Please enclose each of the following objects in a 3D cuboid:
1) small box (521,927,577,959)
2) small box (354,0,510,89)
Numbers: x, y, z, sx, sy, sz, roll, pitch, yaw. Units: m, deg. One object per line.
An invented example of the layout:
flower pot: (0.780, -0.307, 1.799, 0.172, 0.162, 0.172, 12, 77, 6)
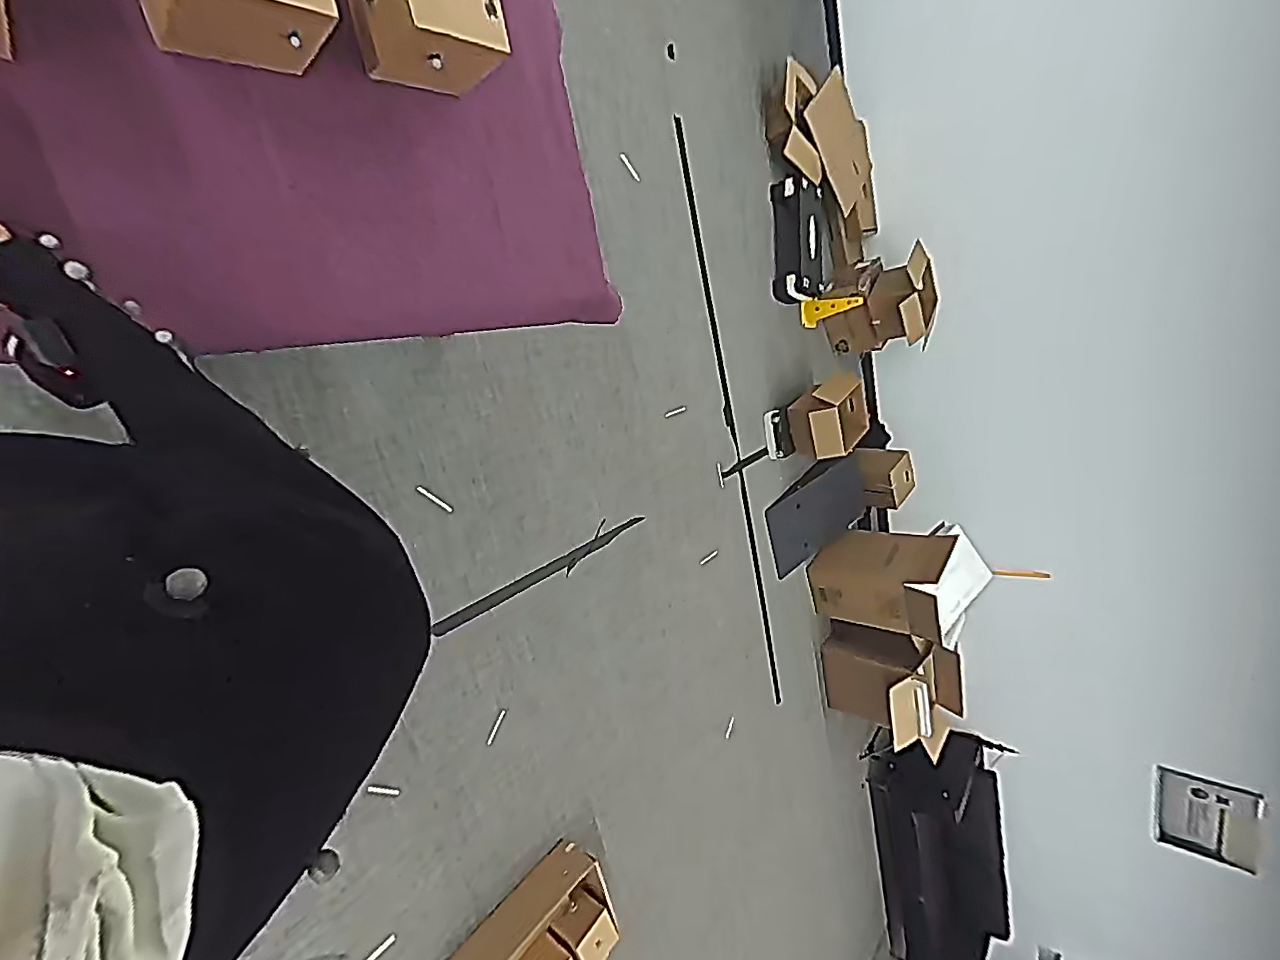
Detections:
small box: (-0.330, 1.810, 1.975, 0.179, 0.176, 0.168, -34, 115, -40)
small box: (-0.341, -0.759, 0.862, 0.179, 0.176, 0.168, -25, 112, -42)
